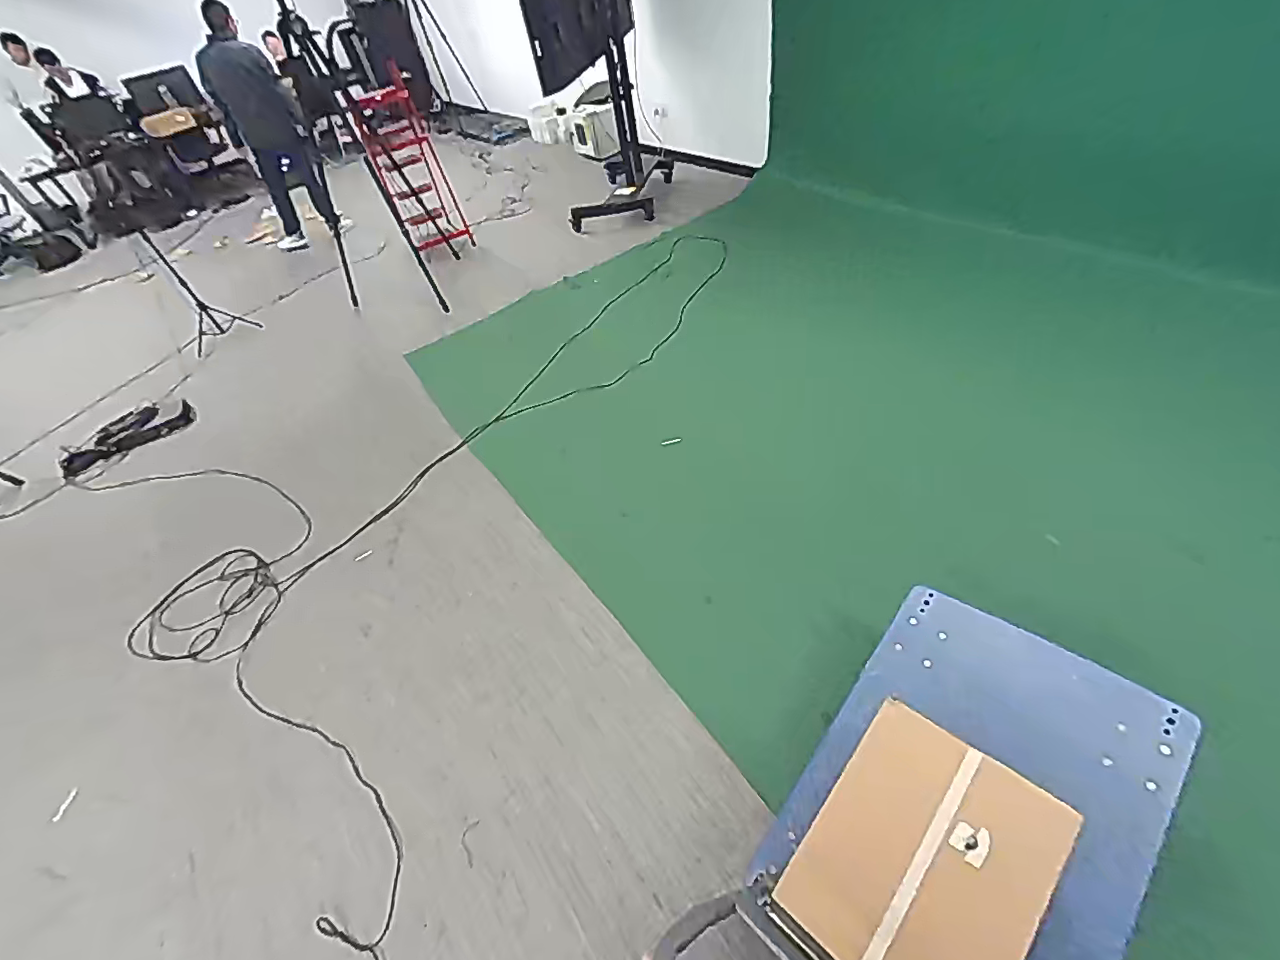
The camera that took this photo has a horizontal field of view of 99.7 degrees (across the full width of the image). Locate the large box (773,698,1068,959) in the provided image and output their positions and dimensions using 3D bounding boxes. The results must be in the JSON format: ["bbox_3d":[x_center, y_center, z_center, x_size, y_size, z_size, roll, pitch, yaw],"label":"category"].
[{"bbox_3d":[0.496,0.701,0.990,0.320,0.320,0.408,27,68,36],"label":"large box"}]
